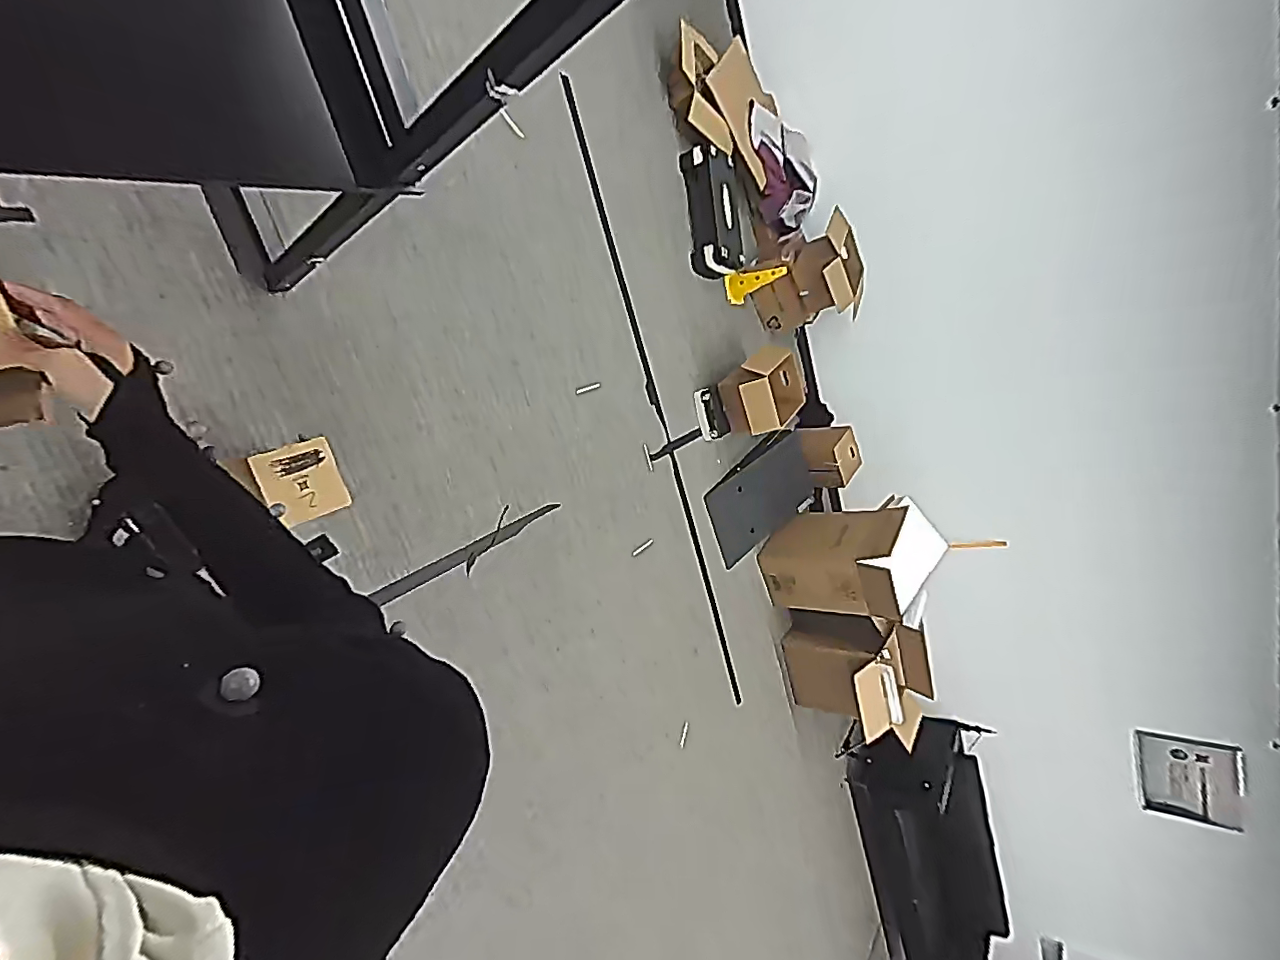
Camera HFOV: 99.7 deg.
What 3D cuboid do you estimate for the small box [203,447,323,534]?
[{"bbox_3d":[-0.949,0.024,1.360,0.179,0.176,0.168,-33,111,-46],"label":"small box"}]
